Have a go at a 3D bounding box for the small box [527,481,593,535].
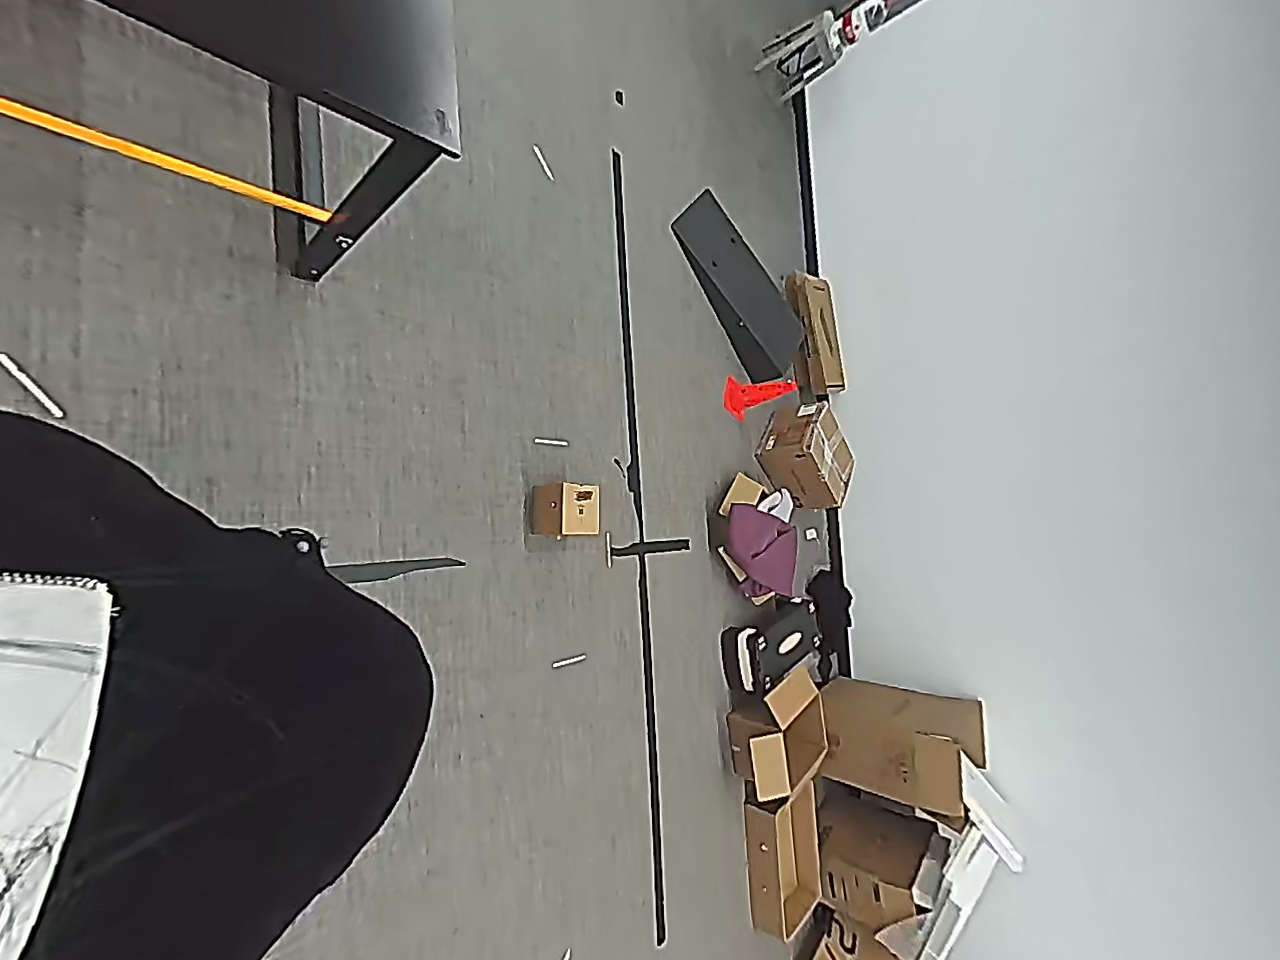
[{"bbox_3d":[-0.283,0.104,1.897,0.168,0.176,0.179,7,81,-48],"label":"small box"}]
